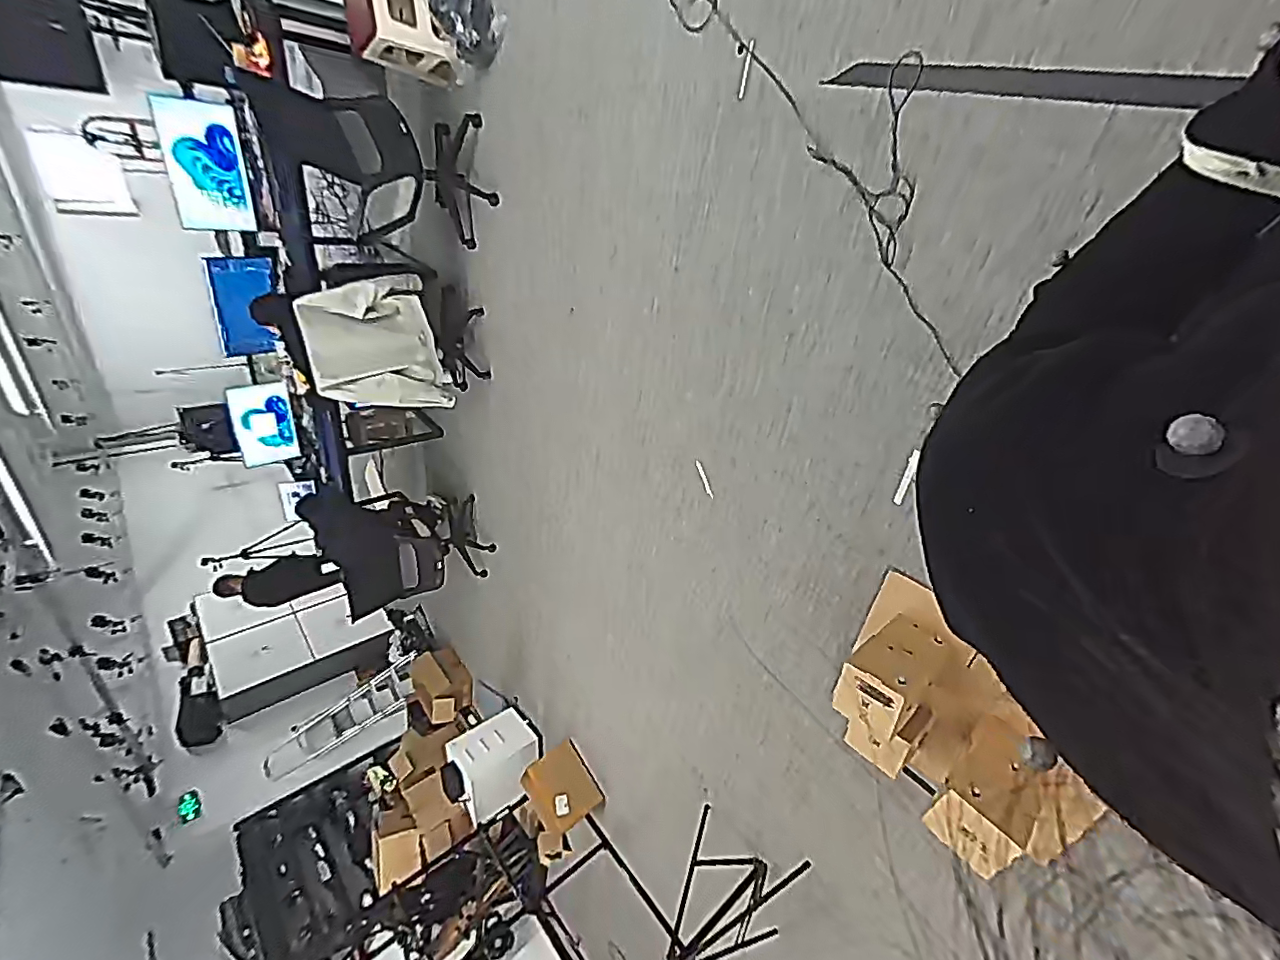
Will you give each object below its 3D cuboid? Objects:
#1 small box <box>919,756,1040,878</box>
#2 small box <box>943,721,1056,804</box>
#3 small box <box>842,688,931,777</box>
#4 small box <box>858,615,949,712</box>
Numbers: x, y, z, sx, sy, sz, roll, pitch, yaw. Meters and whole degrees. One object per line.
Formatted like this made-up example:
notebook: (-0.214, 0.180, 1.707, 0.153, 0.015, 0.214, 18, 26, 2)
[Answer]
small box: (0.845, 0.826, 1.349, 0.179, 0.176, 0.168, 38, 131, 33)
small box: (0.966, 0.782, 1.453, 0.179, 0.176, 0.168, 37, 130, 34)
small box: (0.768, 0.767, 1.685, 0.179, 0.176, 0.168, 30, 127, 39)
small box: (0.772, 0.527, 1.580, 0.168, 0.176, 0.179, 30, 127, 39)
